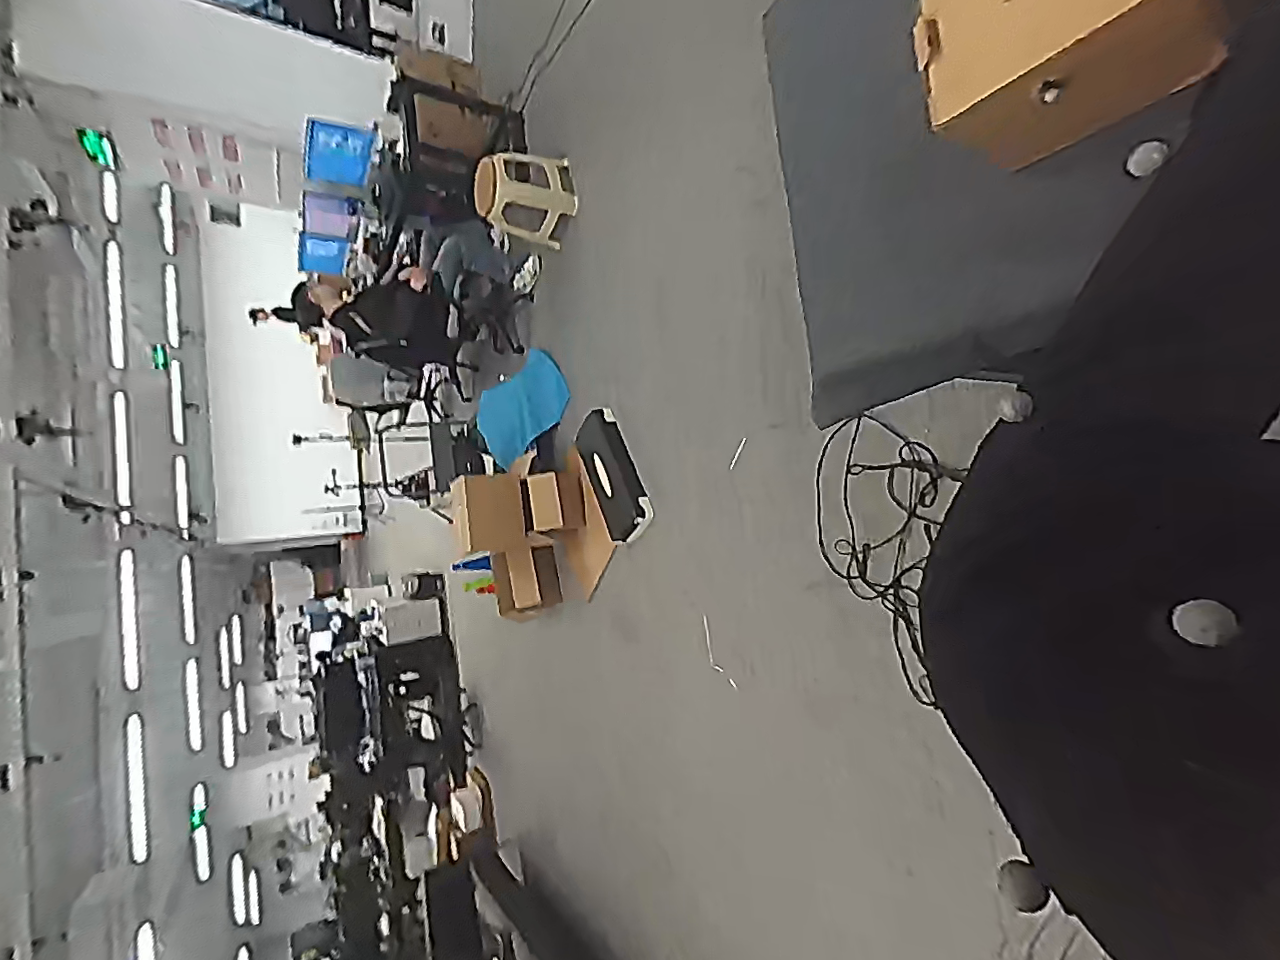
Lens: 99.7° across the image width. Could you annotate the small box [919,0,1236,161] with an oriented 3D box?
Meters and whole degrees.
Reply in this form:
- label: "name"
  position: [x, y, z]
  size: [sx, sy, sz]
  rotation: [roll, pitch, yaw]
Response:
- label: "small box"
  position: [0.384, -0.426, 0.486]
  size: [0.179, 0.176, 0.168]
  rotation: [-7, 88, 56]
